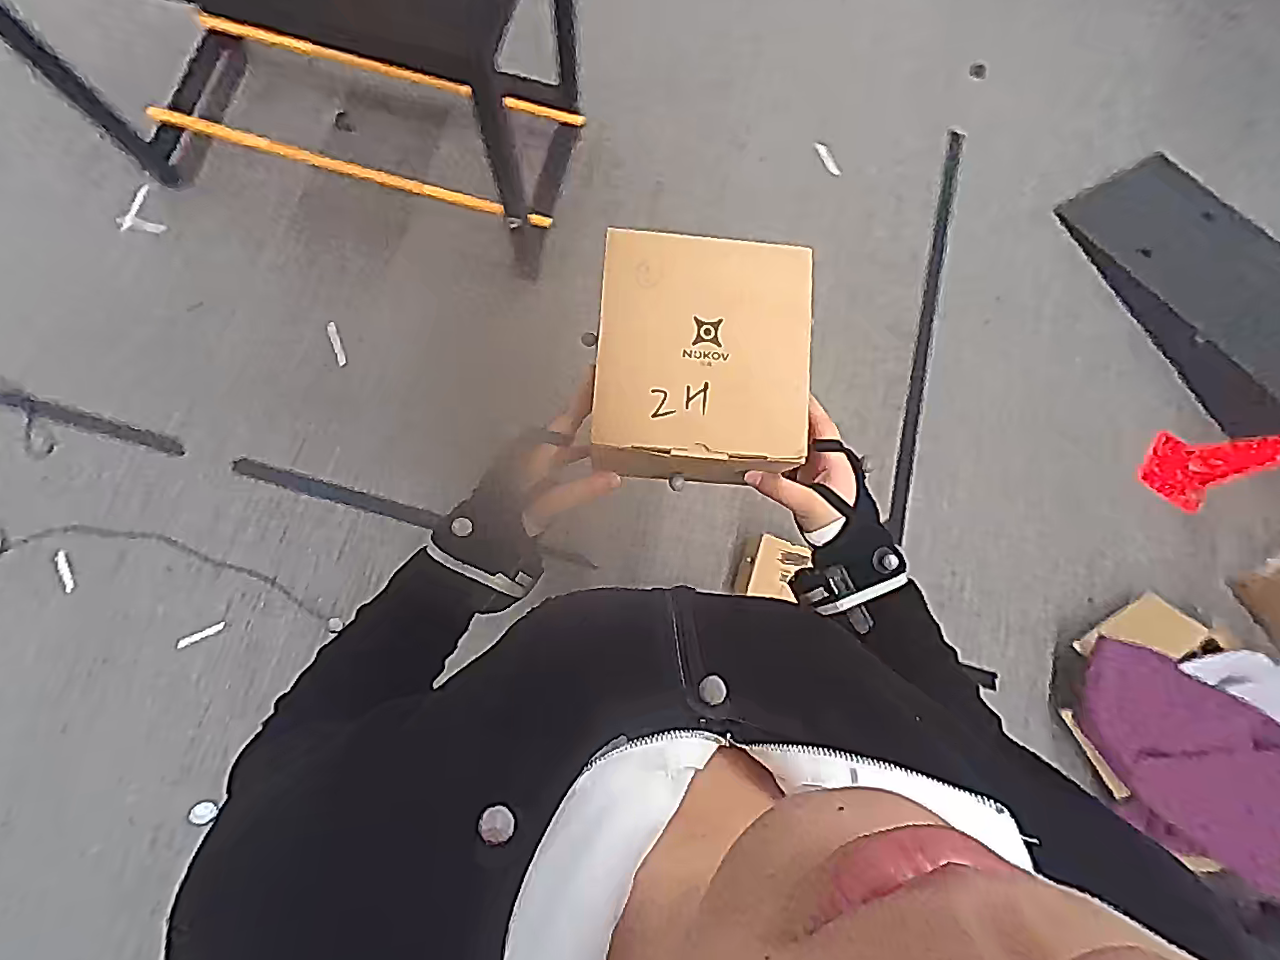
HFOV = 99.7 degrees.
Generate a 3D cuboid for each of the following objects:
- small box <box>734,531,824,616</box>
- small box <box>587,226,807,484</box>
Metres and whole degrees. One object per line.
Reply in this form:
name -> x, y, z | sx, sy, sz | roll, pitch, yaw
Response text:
small box -> 0.365, 0.251, 1.448 | 0.168, 0.176, 0.179 | 19, 80, 0
small box -> 0.040, -0.097, 0.491 | 0.168, 0.176, 0.179 | 3, 83, -3
